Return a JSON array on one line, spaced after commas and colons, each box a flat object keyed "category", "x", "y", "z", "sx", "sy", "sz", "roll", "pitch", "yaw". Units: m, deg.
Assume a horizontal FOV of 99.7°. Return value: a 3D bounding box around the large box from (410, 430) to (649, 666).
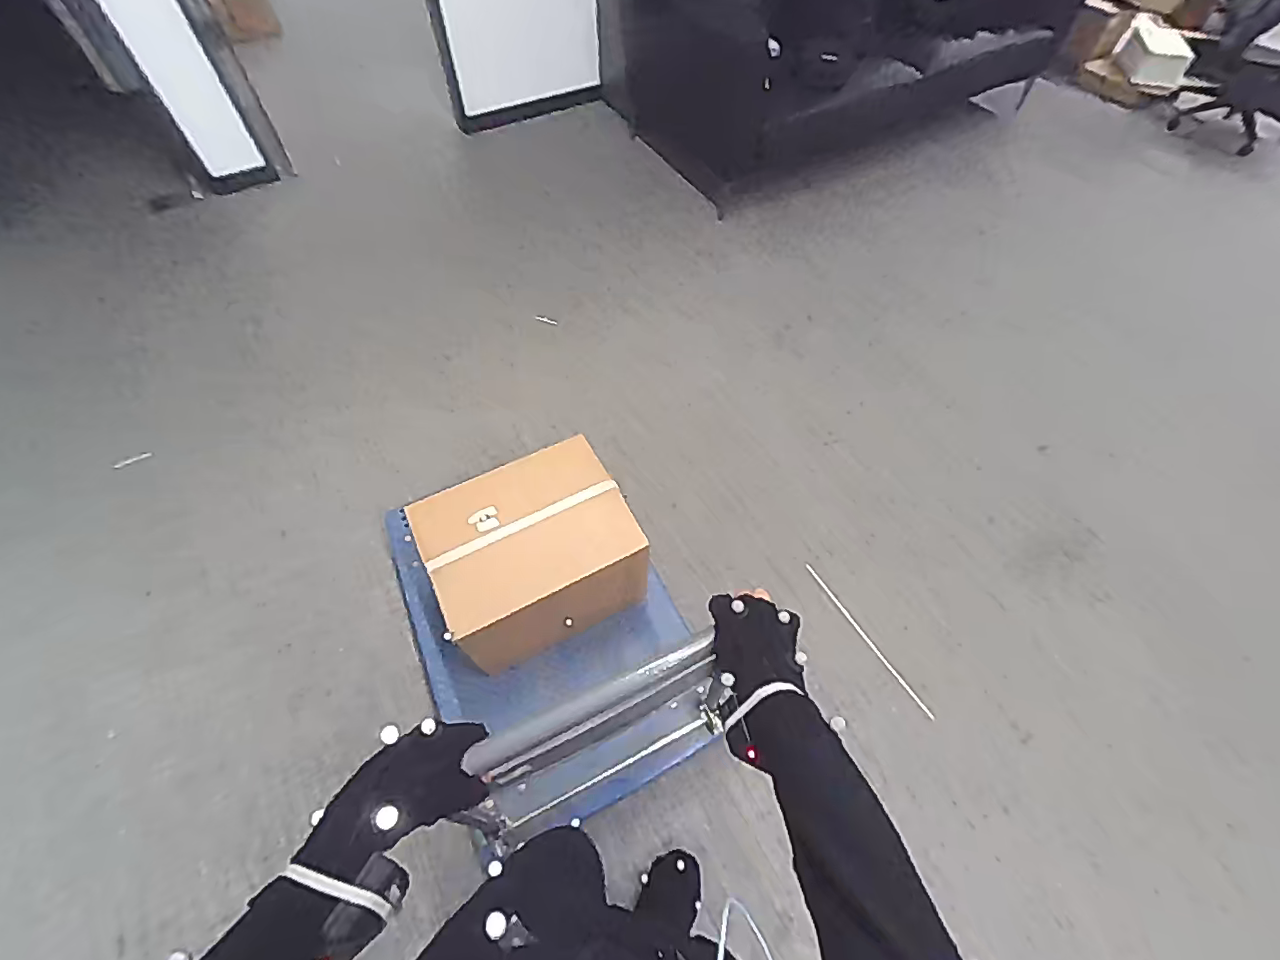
[{"category": "large box", "x": -0.228, "y": 0.156, "z": 1.214, "sx": 0.408, "sy": 0.320, "sz": 0.320, "roll": -25, "pitch": 63, "yaw": -15}]
